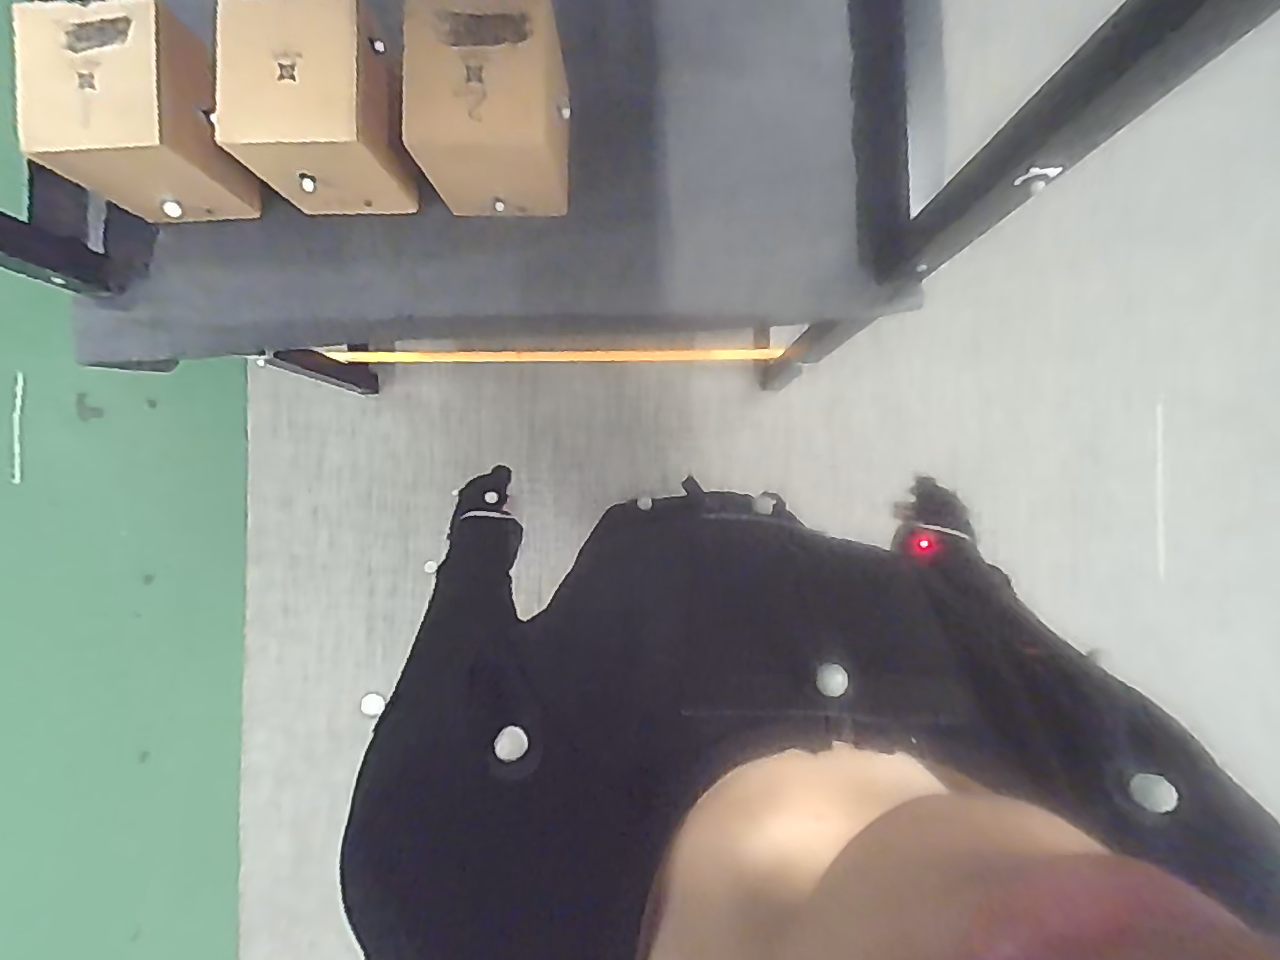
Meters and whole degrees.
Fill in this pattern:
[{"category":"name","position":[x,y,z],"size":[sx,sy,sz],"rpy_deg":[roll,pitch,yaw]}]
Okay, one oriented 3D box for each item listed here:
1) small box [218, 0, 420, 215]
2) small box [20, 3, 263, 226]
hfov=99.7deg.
[{"category":"small box","position":[-0.398,-0.464,0.698],"size":[0.168,0.176,0.179],"rpy_deg":[0,88,1]},{"category":"small box","position":[-0.625,-0.458,0.699],"size":[0.168,0.176,0.179],"rpy_deg":[-3,89,1]}]
